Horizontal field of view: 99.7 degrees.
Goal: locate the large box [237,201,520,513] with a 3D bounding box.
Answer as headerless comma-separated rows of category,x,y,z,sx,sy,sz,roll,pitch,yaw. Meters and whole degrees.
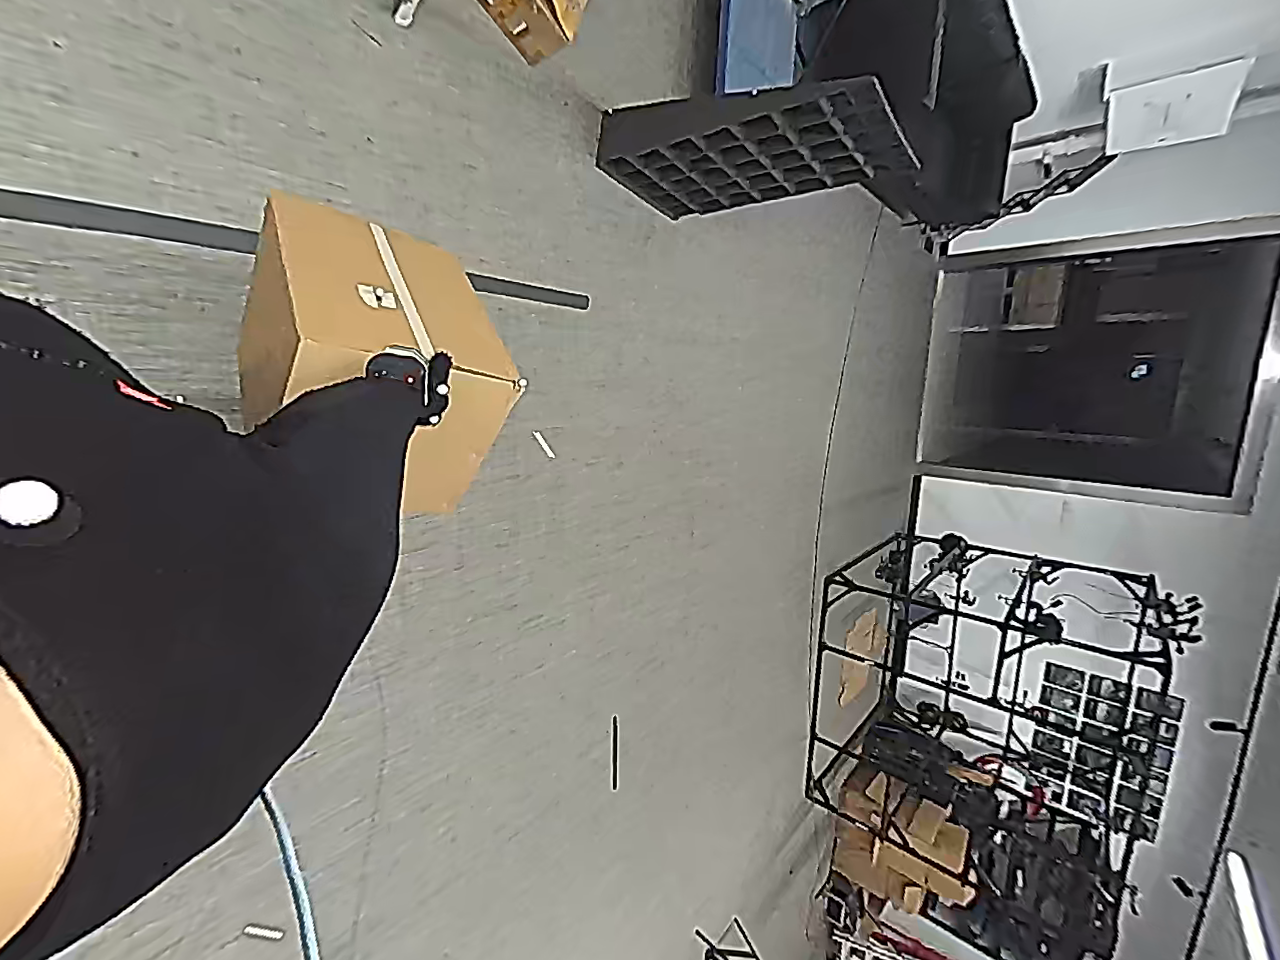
large box,-0.472,-0.193,0.942,0.320,0.408,0.320,5,134,-44
